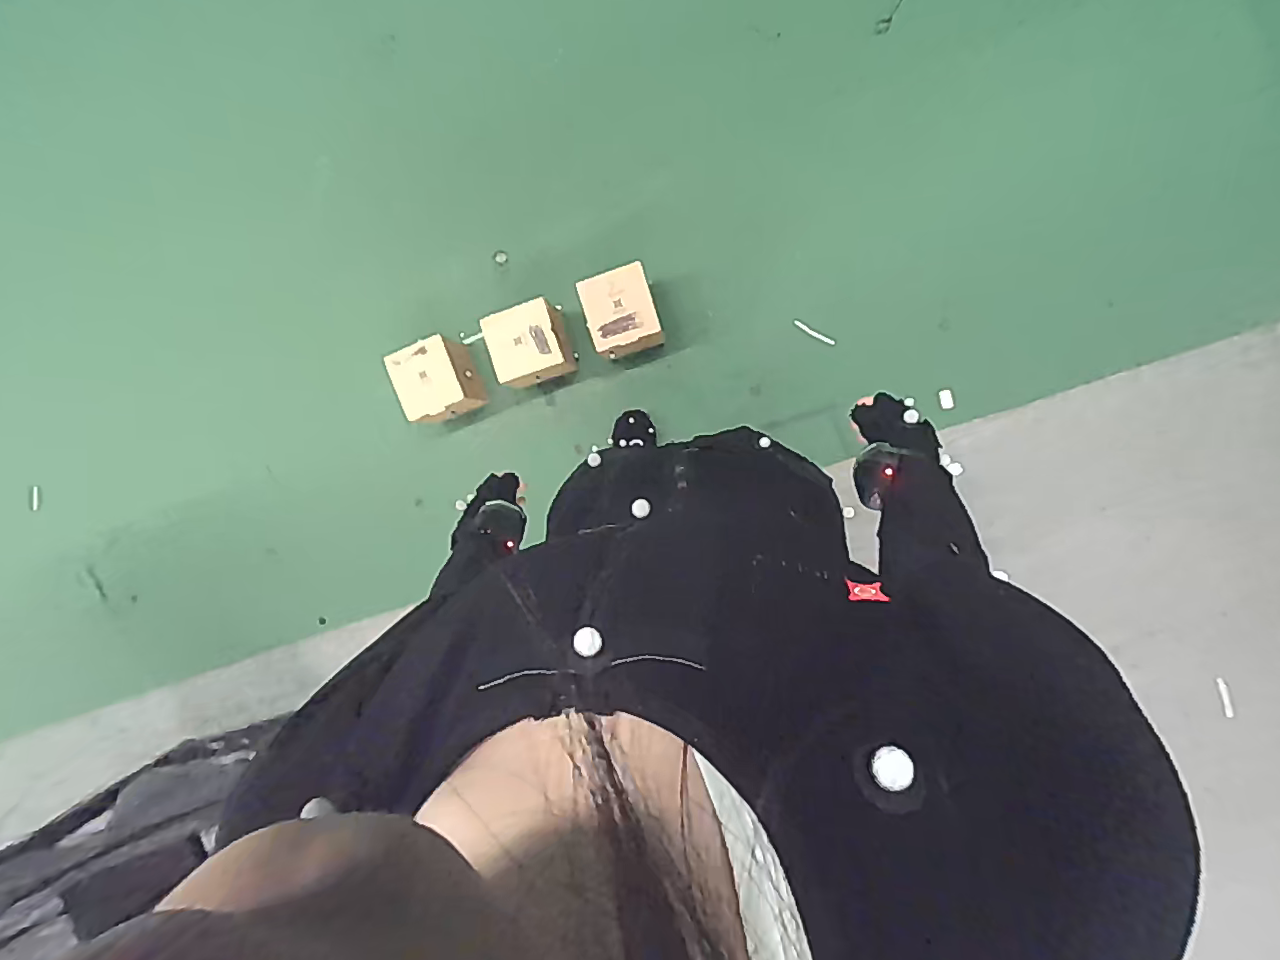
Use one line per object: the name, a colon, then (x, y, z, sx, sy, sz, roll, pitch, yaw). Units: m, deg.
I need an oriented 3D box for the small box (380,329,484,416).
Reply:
small box: (-0.539, -0.279, 1.426, 0.168, 0.176, 0.179, -20, 95, 8)
